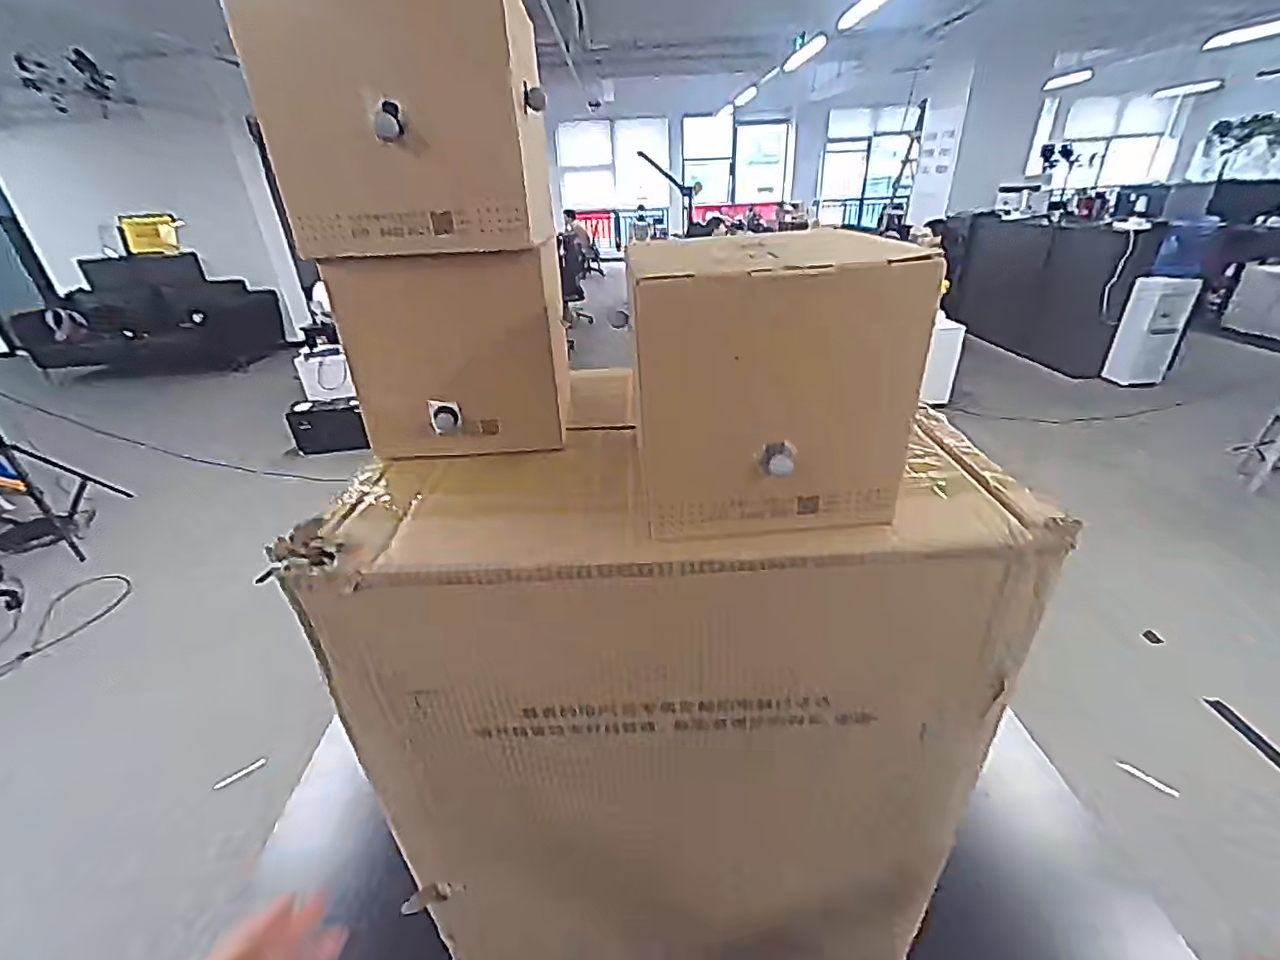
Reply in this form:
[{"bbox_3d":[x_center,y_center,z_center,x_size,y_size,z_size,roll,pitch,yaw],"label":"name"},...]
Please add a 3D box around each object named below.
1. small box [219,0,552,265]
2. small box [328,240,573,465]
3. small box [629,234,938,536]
[{"bbox_3d":[-0.165,-0.265,0.423,0.168,0.176,0.179,-4,28,-2],"label":"small box"},{"bbox_3d":[-0.156,-0.128,0.514,0.168,0.176,0.179,-5,29,-3],"label":"small box"},{"bbox_3d":[0.079,-0.078,0.397,0.168,0.176,0.179,-5,29,0],"label":"small box"}]
